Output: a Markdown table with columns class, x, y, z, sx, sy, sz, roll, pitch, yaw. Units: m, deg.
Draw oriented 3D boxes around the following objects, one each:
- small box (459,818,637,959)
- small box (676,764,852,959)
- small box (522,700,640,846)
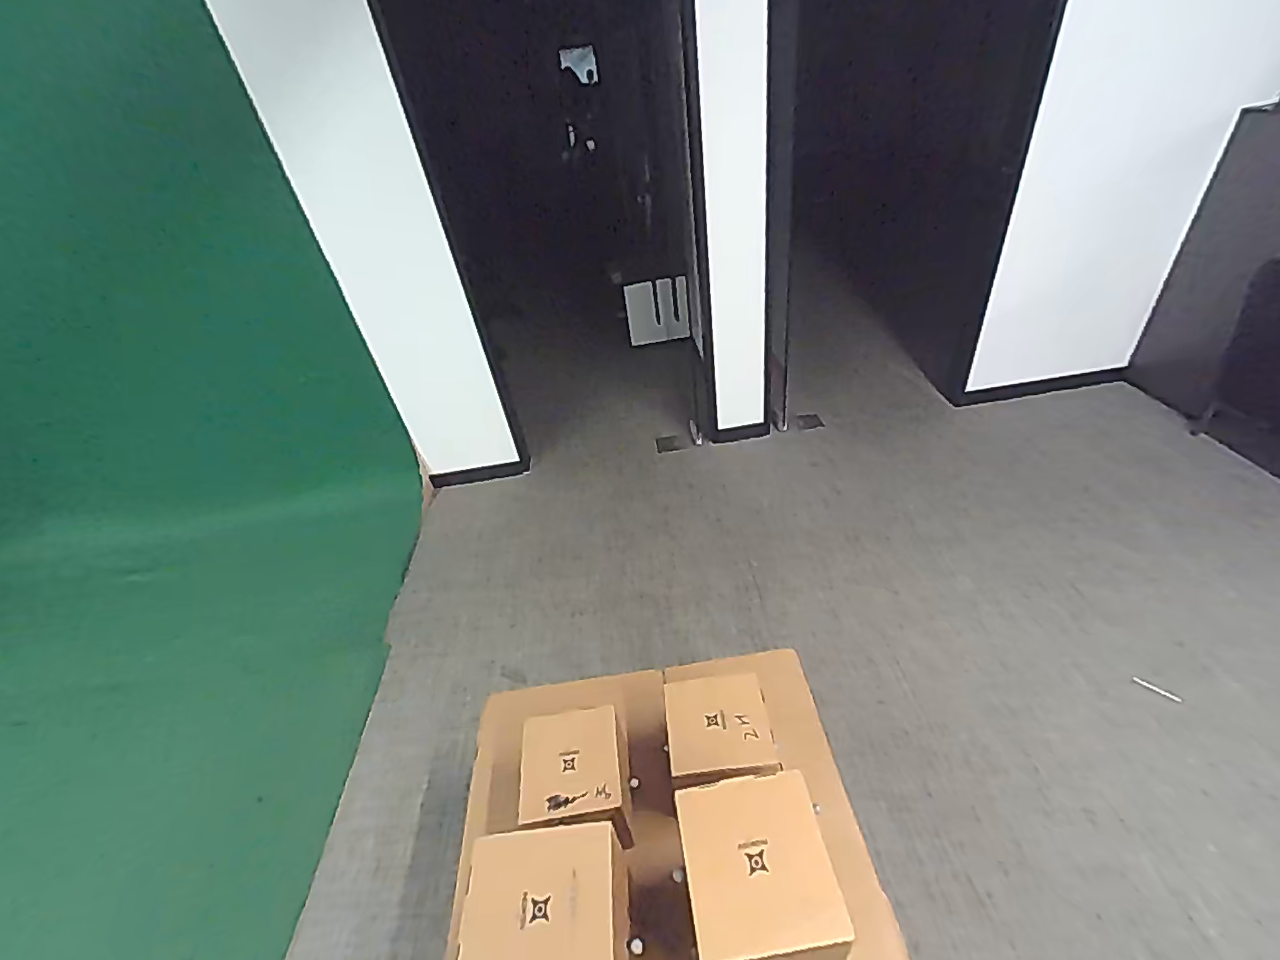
| class | x | y | z | sx | sy | sz | roll | pitch | yaw |
| --- | --- | --- | --- | --- | --- | --- | --- | --- | --- |
| small box | -0.102 | 0.544 | 0.664 | 0.179 | 0.176 | 0.168 | -8 | 39 | 2 |
| small box | 0.147 | 0.490 | 0.672 | 0.168 | 0.176 | 0.179 | -11 | 38 | 1 |
| small box | -0.099 | 0.524 | 0.952 | 0.168 | 0.176 | 0.179 | -12 | 37 | 1 |
